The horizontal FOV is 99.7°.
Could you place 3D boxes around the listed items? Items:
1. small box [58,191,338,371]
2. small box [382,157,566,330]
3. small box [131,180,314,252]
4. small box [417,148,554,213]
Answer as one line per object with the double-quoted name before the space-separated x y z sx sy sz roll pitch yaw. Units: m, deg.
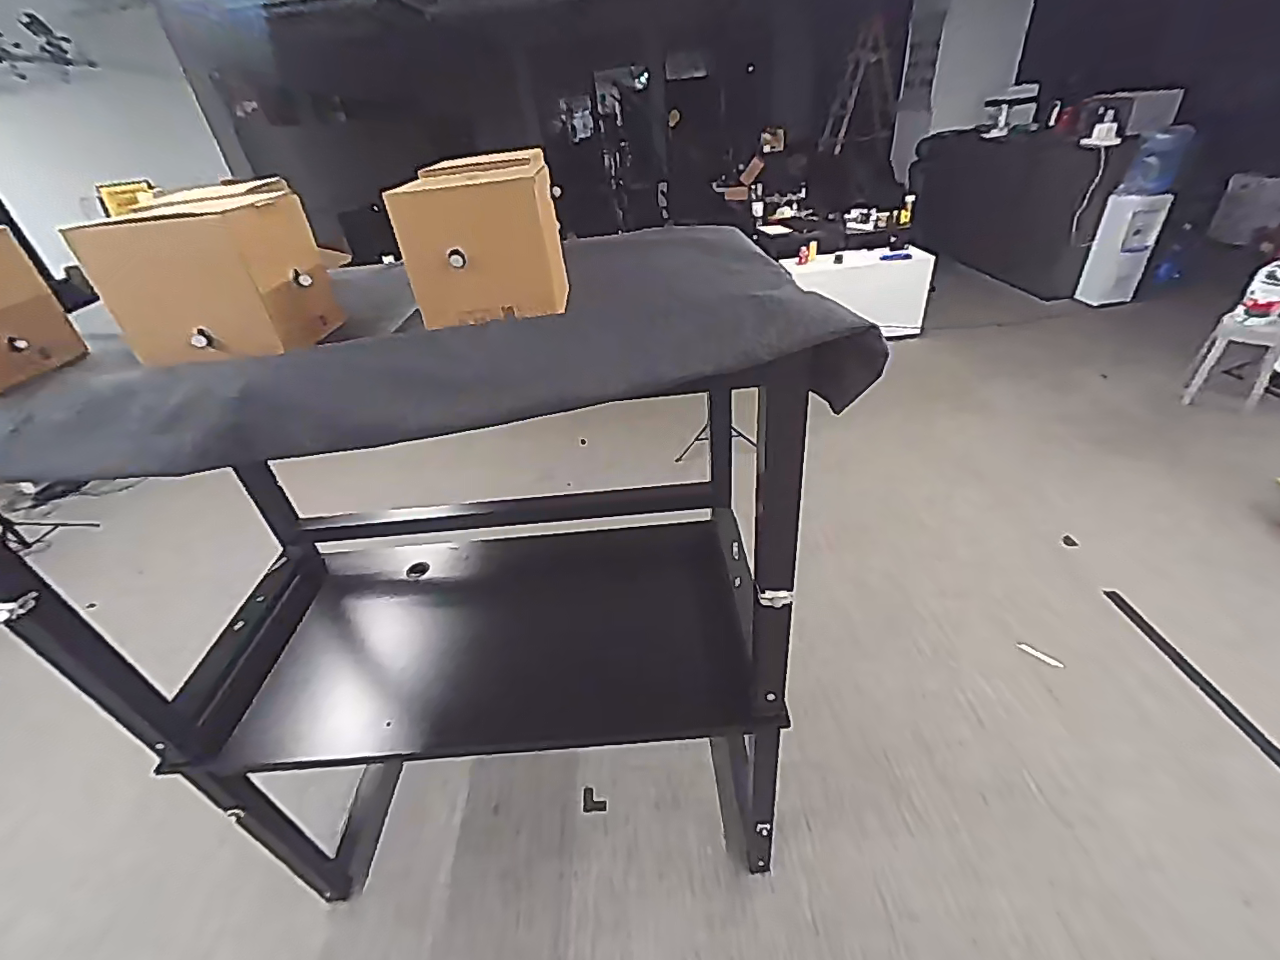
"small box" -0.510 -0.246 0.665 0.179 0.176 0.168 -6 33 0
"small box" -0.190 -0.296 0.684 0.168 0.176 0.179 -7 33 0
"small box" -0.674 -0.396 0.912 0.168 0.176 0.179 -11 35 -3
"small box" -0.245 -0.453 0.920 0.179 0.176 0.168 -6 35 2
